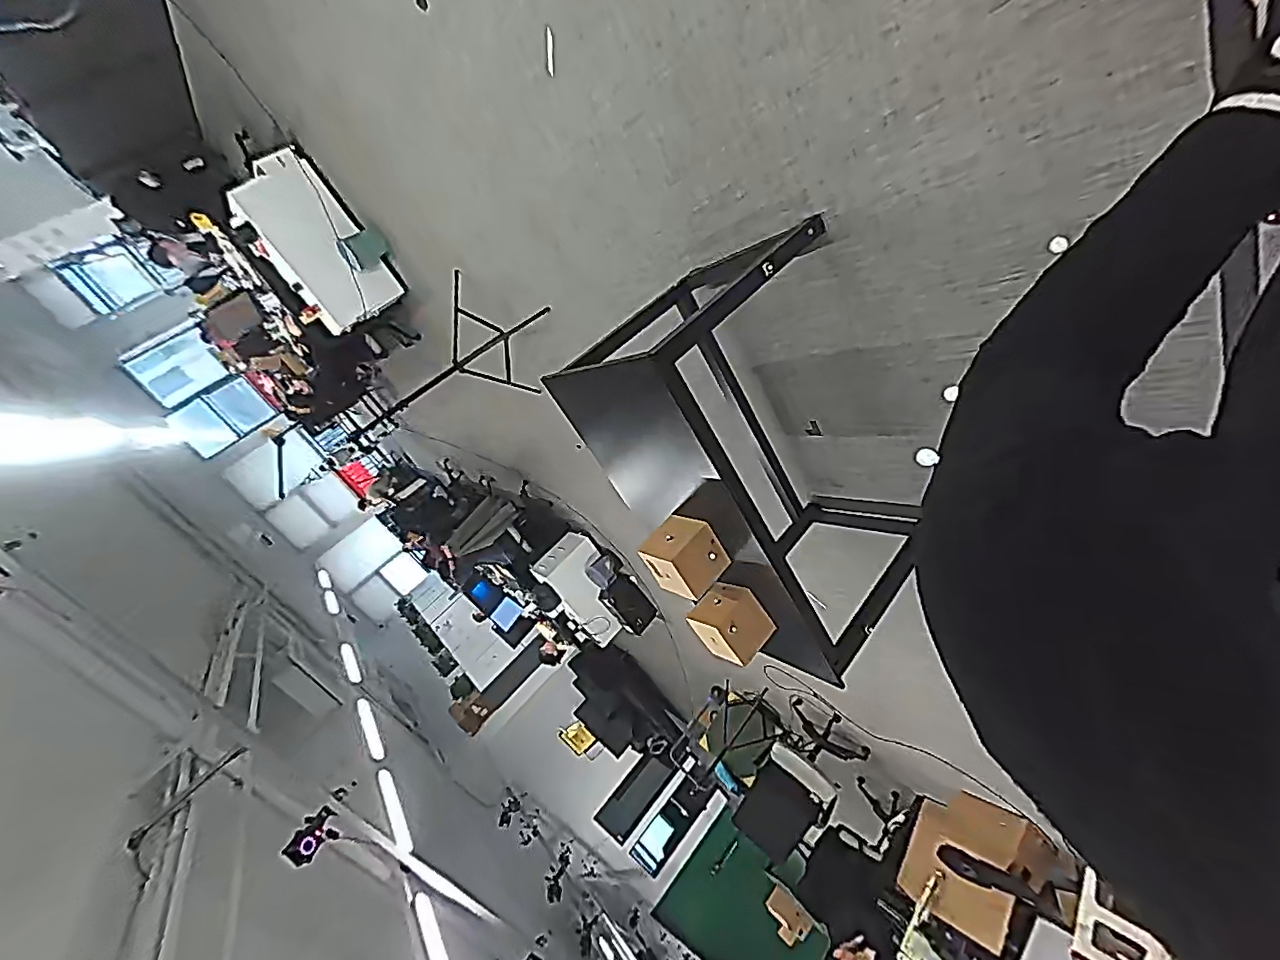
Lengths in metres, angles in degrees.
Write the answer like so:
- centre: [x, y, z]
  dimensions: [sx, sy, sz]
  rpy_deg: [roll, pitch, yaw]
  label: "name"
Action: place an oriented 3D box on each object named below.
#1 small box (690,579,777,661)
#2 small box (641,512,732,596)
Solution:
- centre: [0.299, 0.437, 1.721]
  dimensions: [0.179, 0.176, 0.168]
  rpy_deg: [53, 157, -17]
  label: "small box"
- centre: [0.141, 0.215, 1.622]
  dimensions: [0.179, 0.176, 0.168]
  rpy_deg: [8, 137, 56]
  label: "small box"
